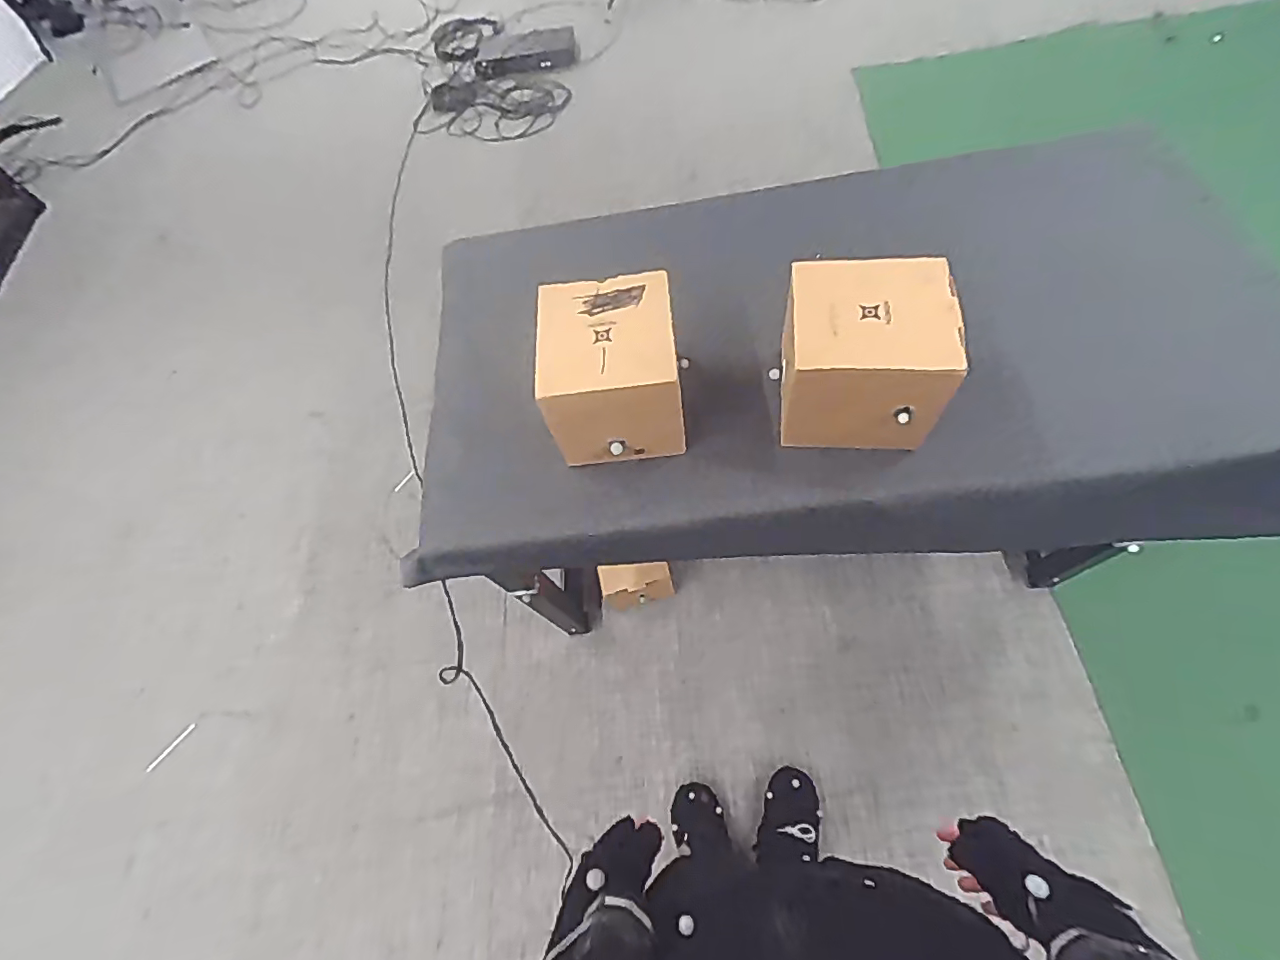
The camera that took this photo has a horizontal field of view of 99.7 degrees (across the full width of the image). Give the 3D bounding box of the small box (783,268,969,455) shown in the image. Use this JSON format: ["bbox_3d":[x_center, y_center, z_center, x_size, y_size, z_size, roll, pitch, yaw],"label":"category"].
[{"bbox_3d":[0.278,-0.141,0.680,0.179,0.176,0.168,2,63,11],"label":"small box"}]

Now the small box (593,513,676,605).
[{"bbox_3d":[-0.010,0.208,1.370,0.168,0.176,0.179,-15,64,1],"label":"small box"}]

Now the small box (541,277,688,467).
[{"bbox_3d":[-0.025,-0.136,0.719,0.168,0.176,0.179,-5,63,6],"label":"small box"}]
